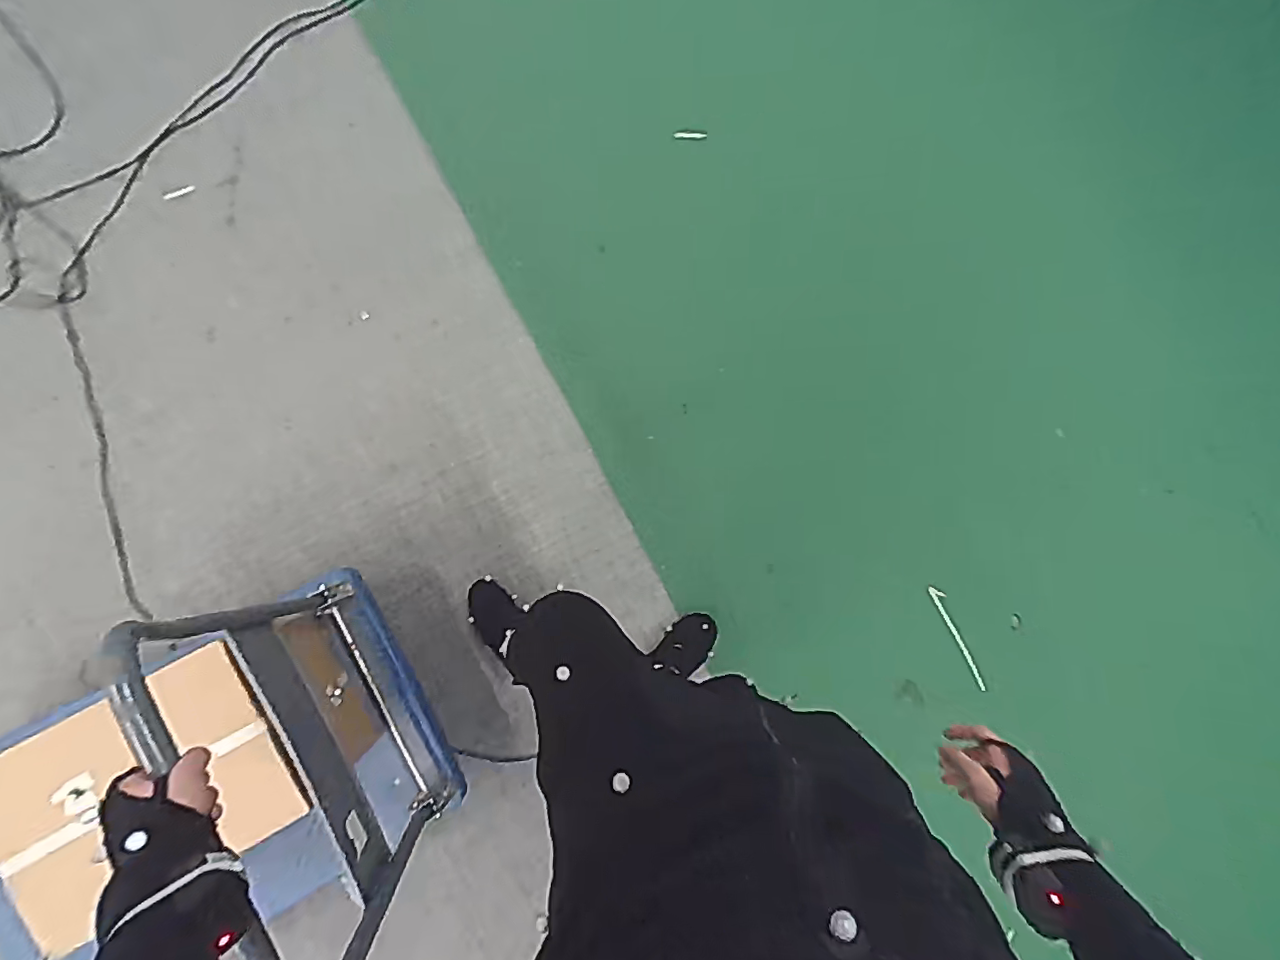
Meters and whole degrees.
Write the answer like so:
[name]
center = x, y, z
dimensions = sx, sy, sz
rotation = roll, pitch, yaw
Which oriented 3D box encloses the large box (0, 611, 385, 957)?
[large box]
center = -0.762, 0.490, 0.976
dimensions = 0.408, 0.320, 0.320
rotation = -29, 88, -9
